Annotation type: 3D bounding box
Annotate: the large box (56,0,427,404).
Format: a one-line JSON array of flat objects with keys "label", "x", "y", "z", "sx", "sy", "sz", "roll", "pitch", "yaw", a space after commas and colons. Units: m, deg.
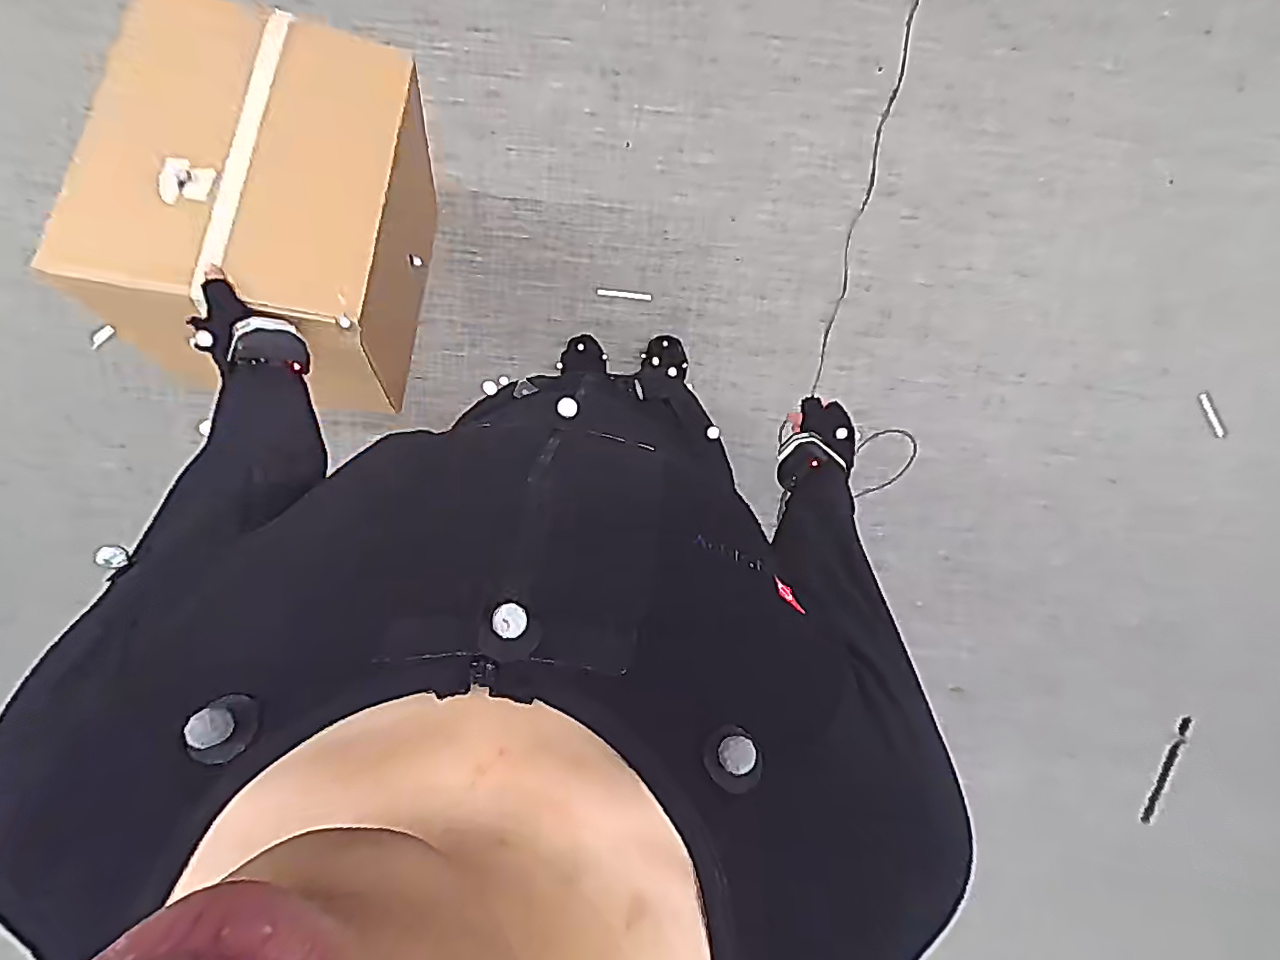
[{"label": "large box", "x": -0.507, "y": -0.365, "z": 0.792, "sx": 0.320, "sy": 0.320, "sz": 0.408, "roll": 6, "pitch": 77, "yaw": -13}]
